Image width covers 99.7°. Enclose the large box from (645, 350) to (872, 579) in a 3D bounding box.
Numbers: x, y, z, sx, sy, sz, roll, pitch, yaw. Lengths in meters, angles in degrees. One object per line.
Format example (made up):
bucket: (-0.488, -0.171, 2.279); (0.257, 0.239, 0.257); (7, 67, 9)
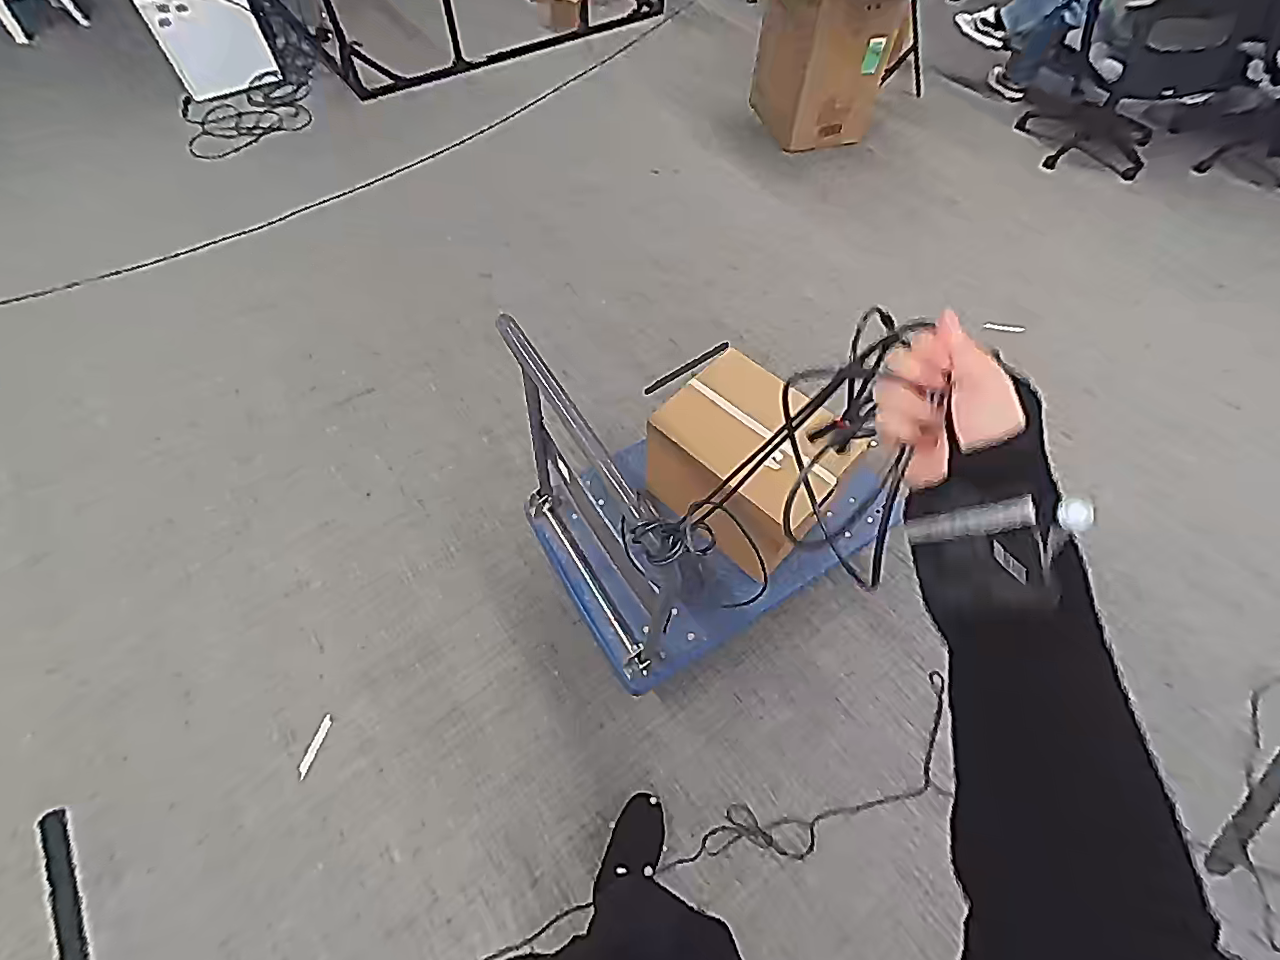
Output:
large box: (0.261, -0.036, 1.325); (0.408, 0.320, 0.320); (40, 68, 19)
